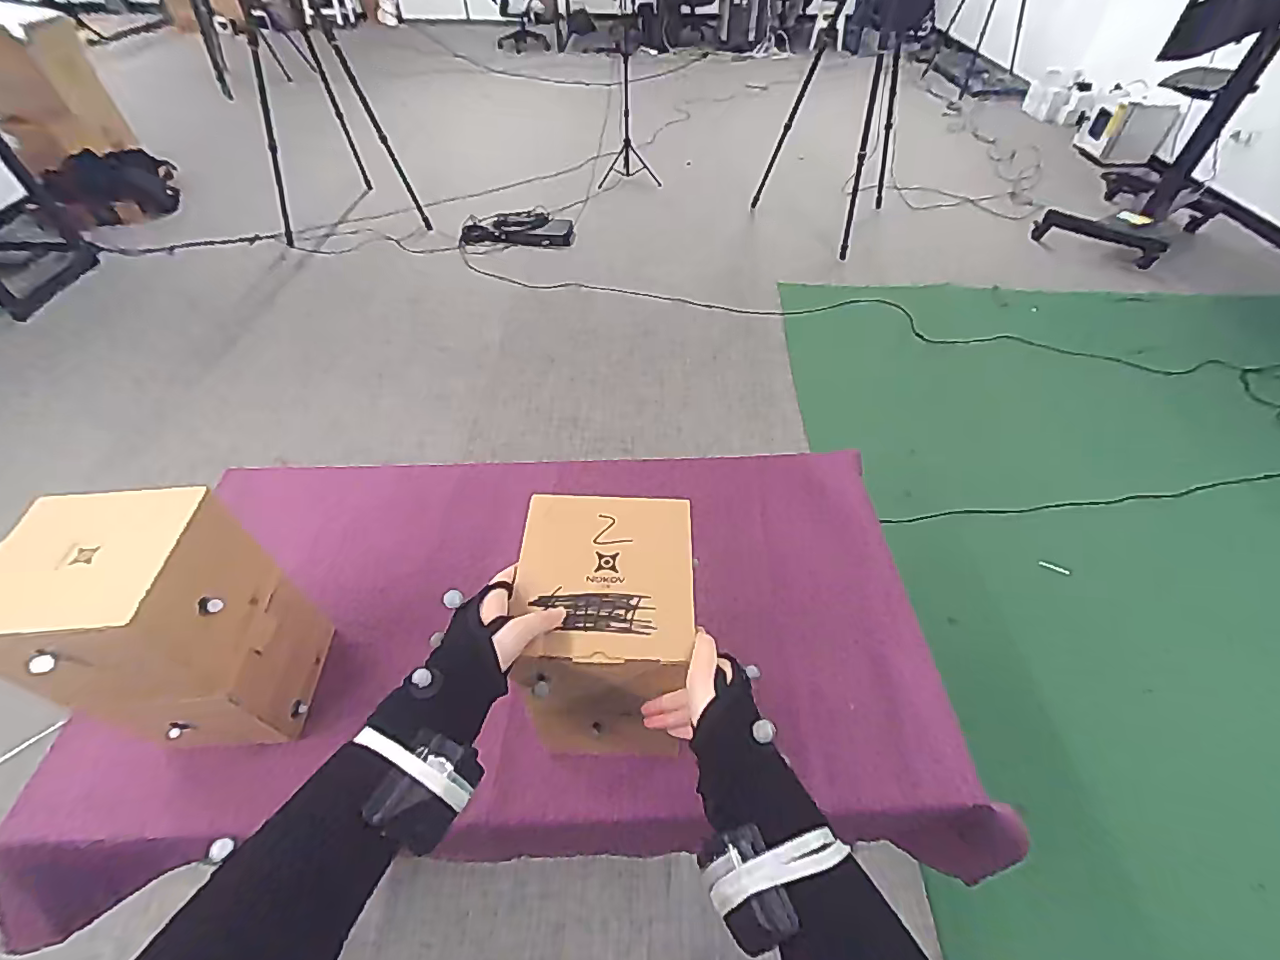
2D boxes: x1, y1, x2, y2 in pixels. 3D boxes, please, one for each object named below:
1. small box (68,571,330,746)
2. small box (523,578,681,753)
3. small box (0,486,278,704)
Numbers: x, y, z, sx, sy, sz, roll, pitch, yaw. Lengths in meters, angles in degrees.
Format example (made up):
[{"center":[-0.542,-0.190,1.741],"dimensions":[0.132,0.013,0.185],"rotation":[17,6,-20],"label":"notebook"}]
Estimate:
[{"center":[-0.544,0.234,0.705],"dimensions":[0.179,0.176,0.168],"rotation":[-4,49,-2],"label":"small box"},{"center":[-0.037,0.242,0.697],"dimensions":[0.179,0.176,0.168],"rotation":[2,50,2],"label":"small box"},{"center":[-0.539,0.126,0.584],"dimensions":[0.179,0.176,0.168],"rotation":[-4,49,-3],"label":"small box"}]
